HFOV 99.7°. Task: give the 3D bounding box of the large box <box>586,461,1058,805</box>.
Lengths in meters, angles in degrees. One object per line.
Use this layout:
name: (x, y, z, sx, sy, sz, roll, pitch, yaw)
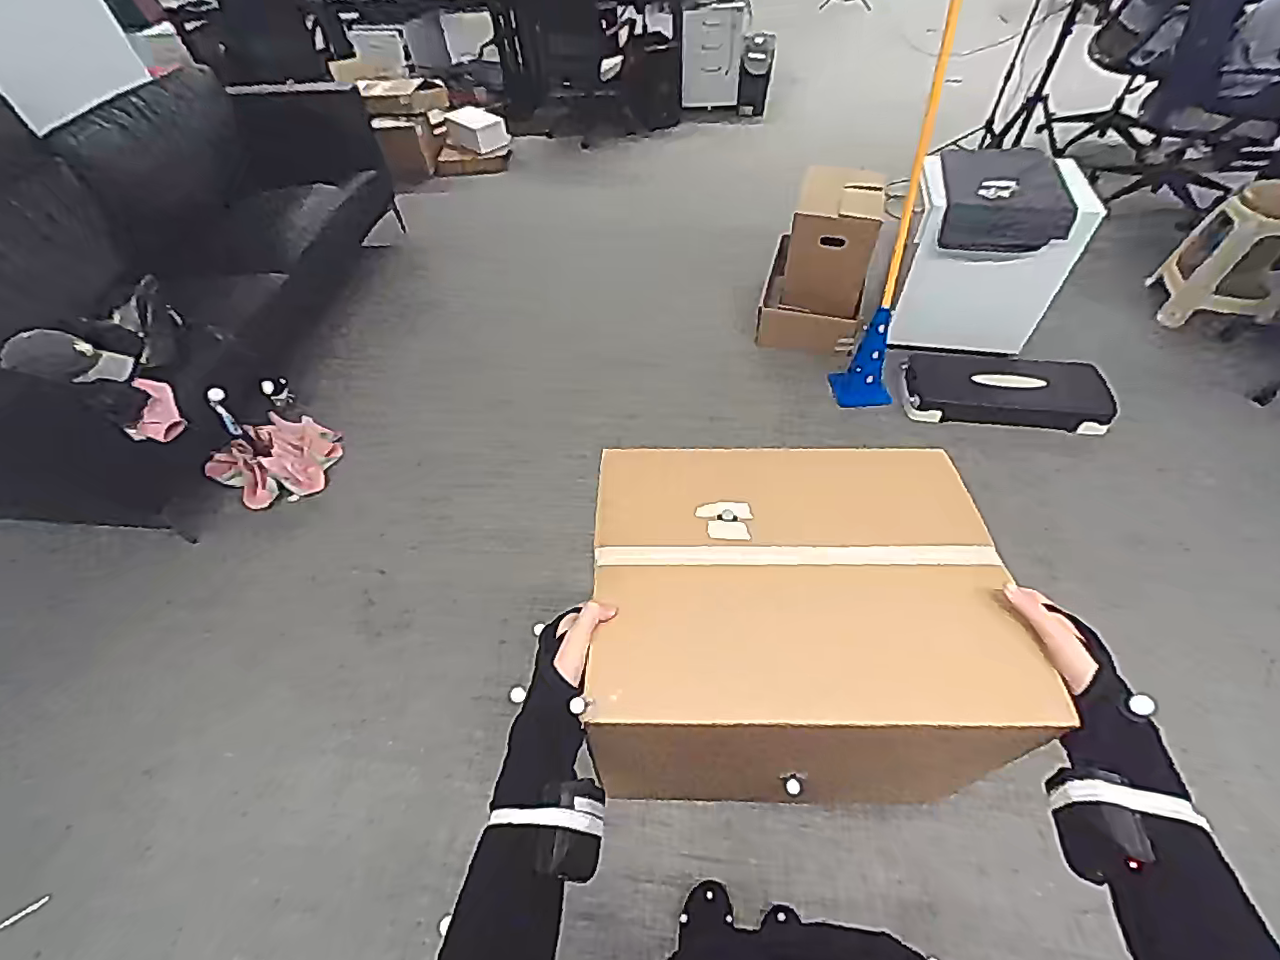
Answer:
large box: (0.158, 0.194, 0.661, 0.408, 0.320, 0.320, -1, 48, 2)
